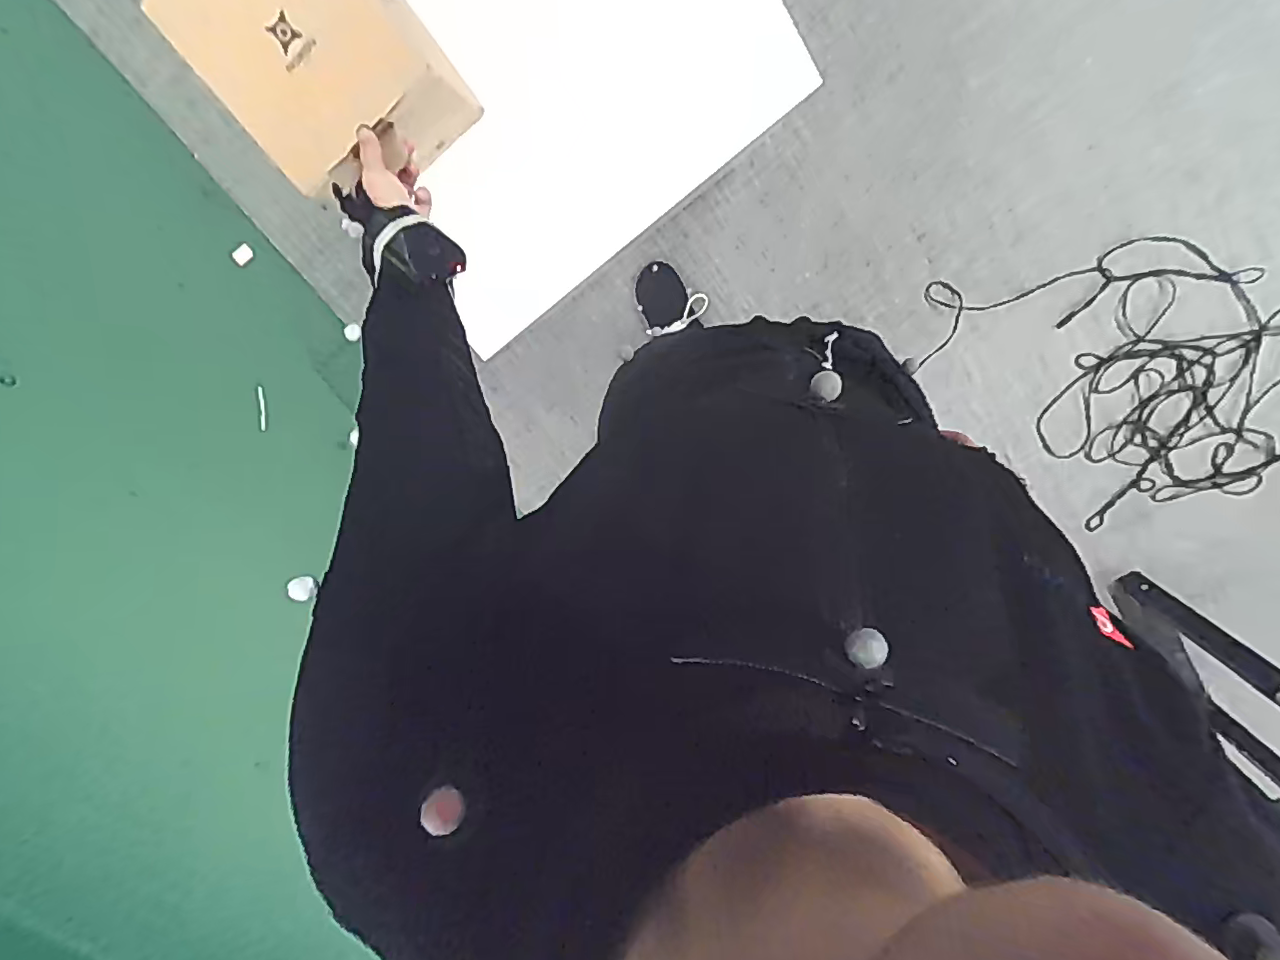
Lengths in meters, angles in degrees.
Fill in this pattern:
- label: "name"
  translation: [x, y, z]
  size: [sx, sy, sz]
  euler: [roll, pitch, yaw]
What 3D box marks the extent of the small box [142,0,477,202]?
- label: "small box"
  translation: [-0.290, -0.396, 0.520]
  size: [0.168, 0.176, 0.179]
  euler: [-34, 110, 14]
